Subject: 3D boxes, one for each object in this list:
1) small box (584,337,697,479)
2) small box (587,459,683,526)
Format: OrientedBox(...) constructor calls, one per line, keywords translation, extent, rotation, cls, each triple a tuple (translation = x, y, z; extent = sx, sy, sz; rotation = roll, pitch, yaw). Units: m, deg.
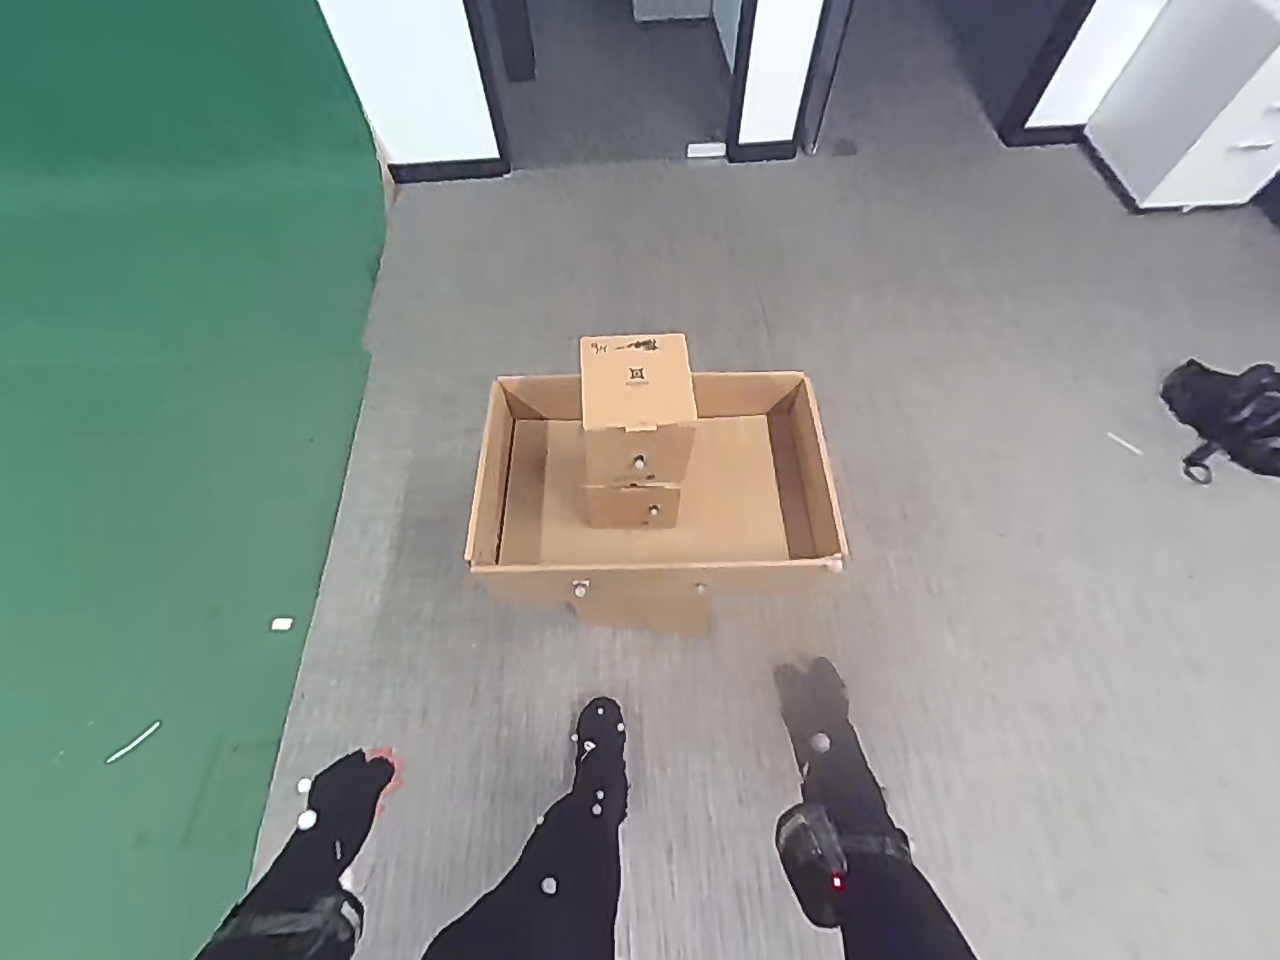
OrientedBox(translation=(-0.003, -0.109, 0.879), extent=(0.168, 0.176, 0.179), rotation=(-2, 61, -3), cls="small box")
OrientedBox(translation=(-0.009, -0.022, 1.019), extent=(0.168, 0.176, 0.179), rotation=(0, 59, -2), cls="small box")
